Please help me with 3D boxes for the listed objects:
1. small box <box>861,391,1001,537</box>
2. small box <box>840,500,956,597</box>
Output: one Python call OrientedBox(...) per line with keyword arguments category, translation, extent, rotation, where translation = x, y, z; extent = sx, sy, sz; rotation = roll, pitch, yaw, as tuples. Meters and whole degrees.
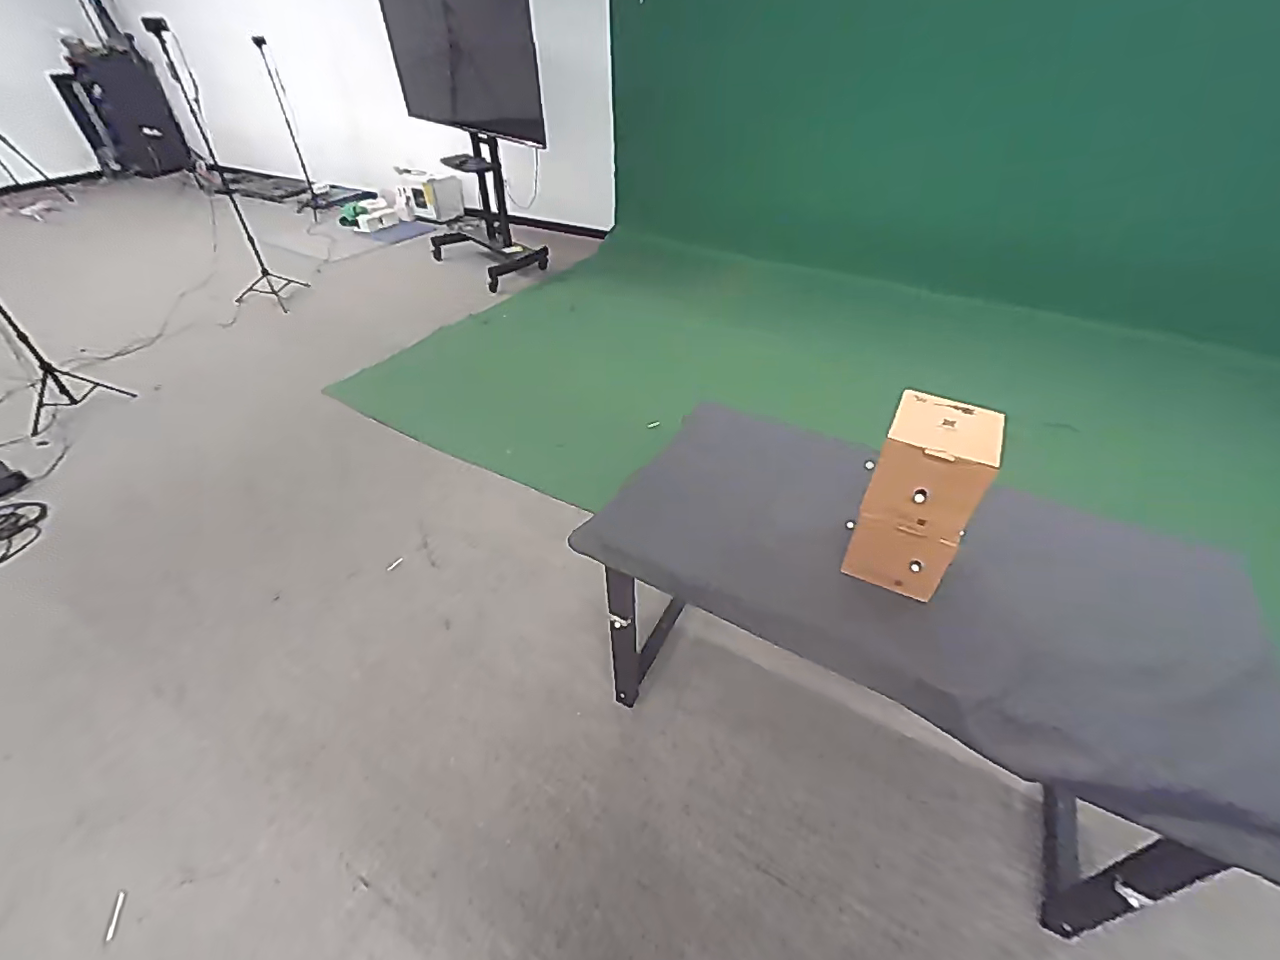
OrientedBox(category="small box", translation=(0.511, -0.027, 0.964), extent=(0.168, 0.176, 0.179), rotation=(22, 47, 21))
OrientedBox(category="small box", translation=(0.510, 0.100, 1.068), extent=(0.168, 0.176, 0.179), rotation=(20, 44, 20))
